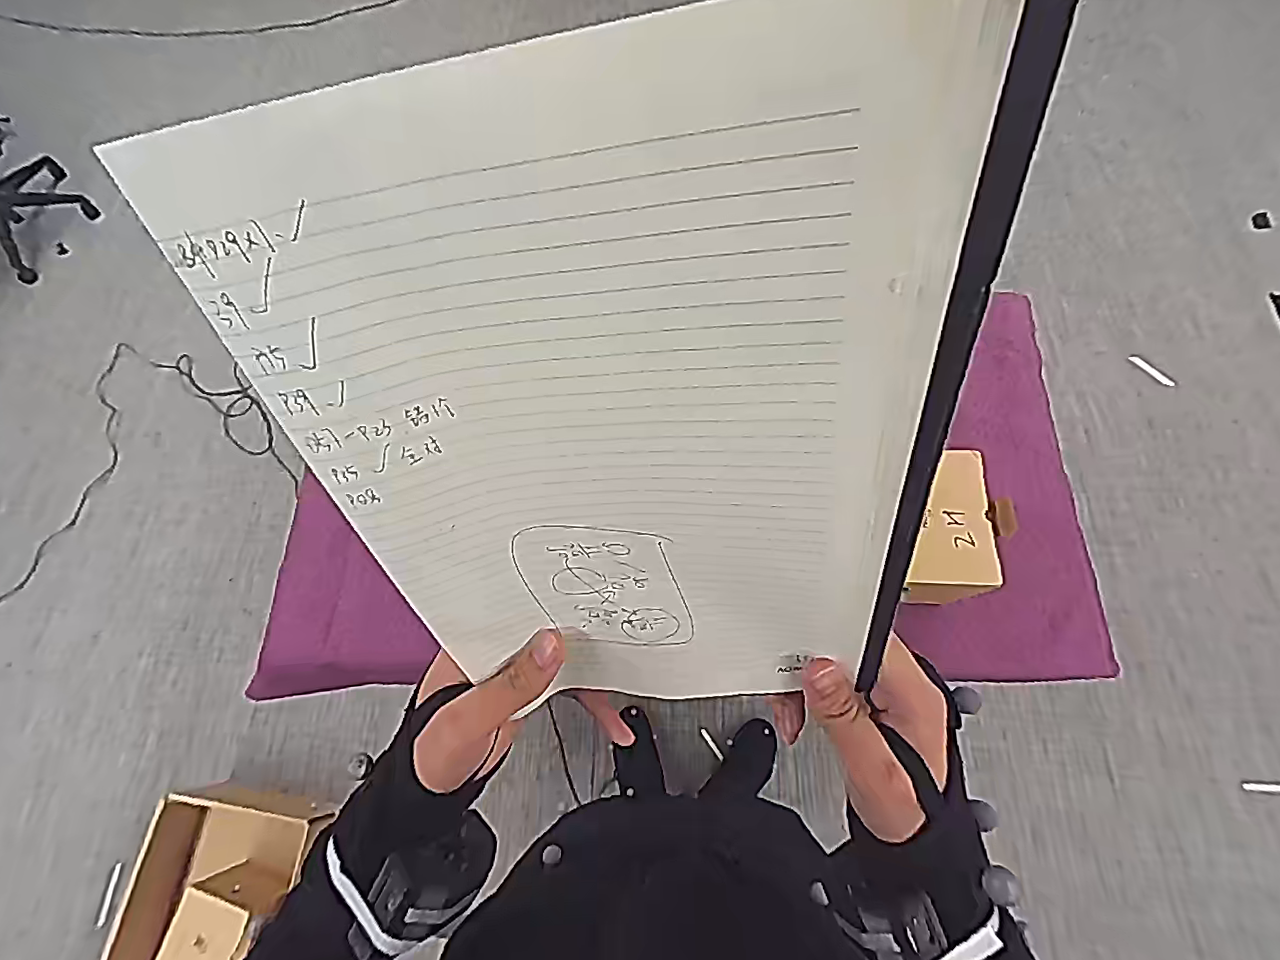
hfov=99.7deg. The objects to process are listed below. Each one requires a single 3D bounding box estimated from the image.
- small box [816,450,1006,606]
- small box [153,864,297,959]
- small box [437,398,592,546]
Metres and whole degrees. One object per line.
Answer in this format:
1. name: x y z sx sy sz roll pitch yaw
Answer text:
1. small box: 0.332 0.070 0.706 0.179 0.176 0.168 1 71 7
2. small box: -0.938 1.018 1.237 0.179 0.176 0.168 13 73 10
3. small box: -0.170 -0.004 0.790 0.168 0.176 0.179 0 70 6
